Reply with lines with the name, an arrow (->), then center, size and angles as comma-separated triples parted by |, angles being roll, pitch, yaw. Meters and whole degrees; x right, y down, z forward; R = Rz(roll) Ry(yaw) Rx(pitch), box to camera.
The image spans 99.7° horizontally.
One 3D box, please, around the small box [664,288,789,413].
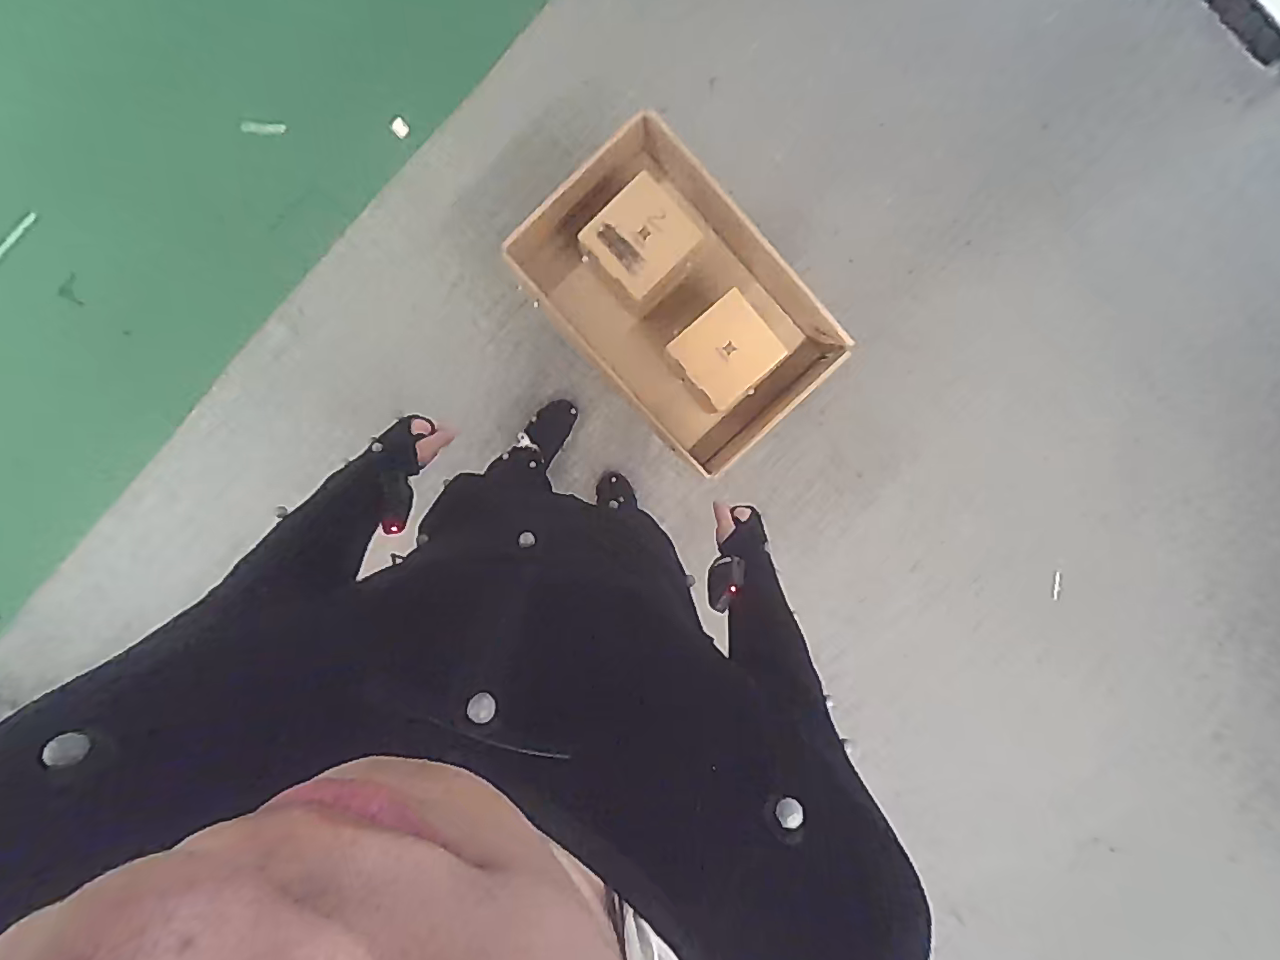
small box -> 0.164, -0.254, 1.097 | 0.179, 0.176, 0.168 | -41, 95, 4
